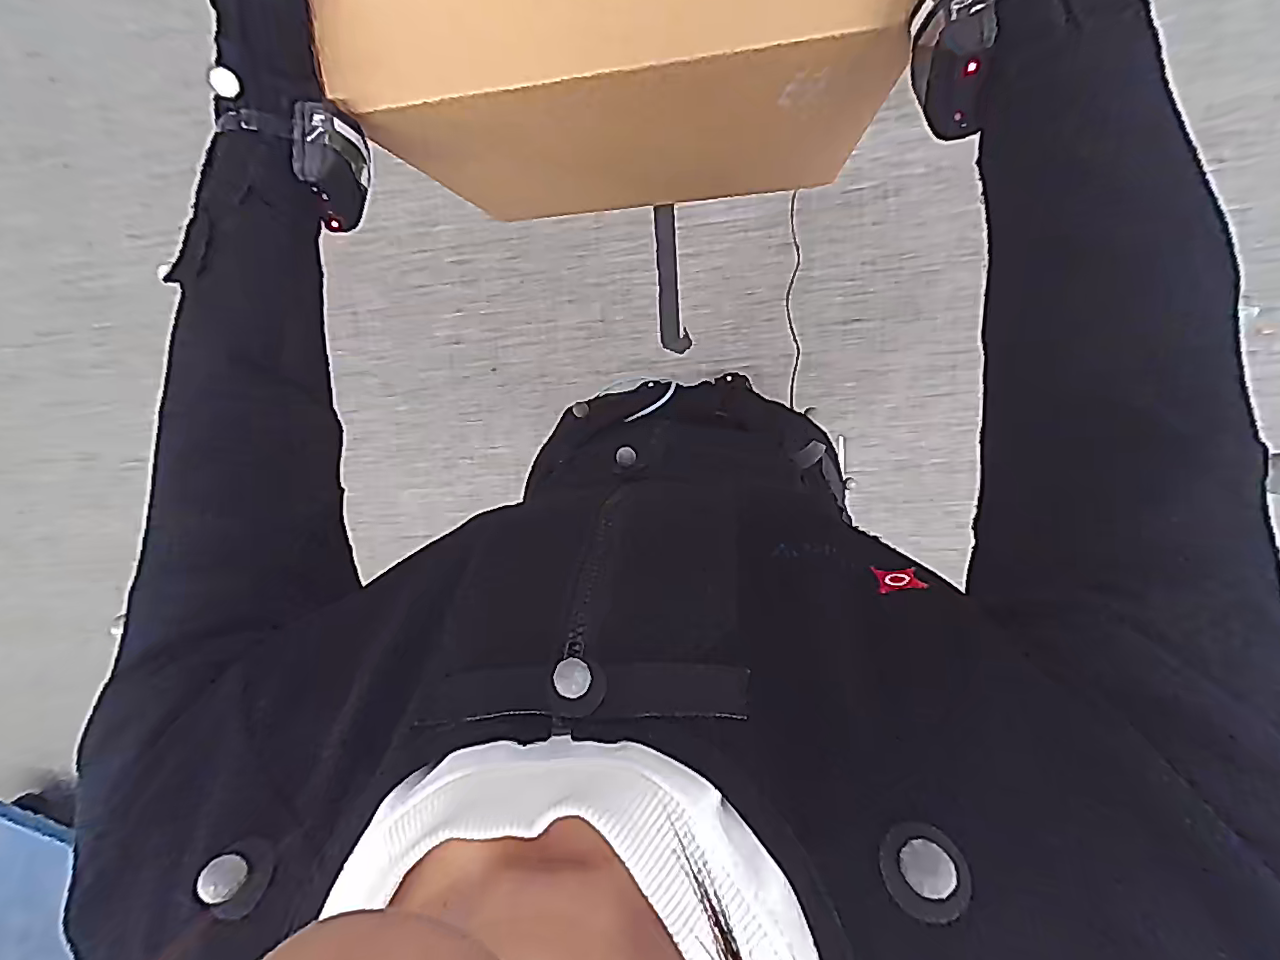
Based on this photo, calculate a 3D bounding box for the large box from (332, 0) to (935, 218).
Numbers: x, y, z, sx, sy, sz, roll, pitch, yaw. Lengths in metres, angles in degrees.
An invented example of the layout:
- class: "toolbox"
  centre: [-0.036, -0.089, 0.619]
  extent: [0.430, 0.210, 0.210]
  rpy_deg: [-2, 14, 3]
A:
- class: "large box"
  centre: [-0.008, -0.456, 0.475]
  extent: [0.408, 0.320, 0.320]
  rpy_deg: [-3, 102, 8]
